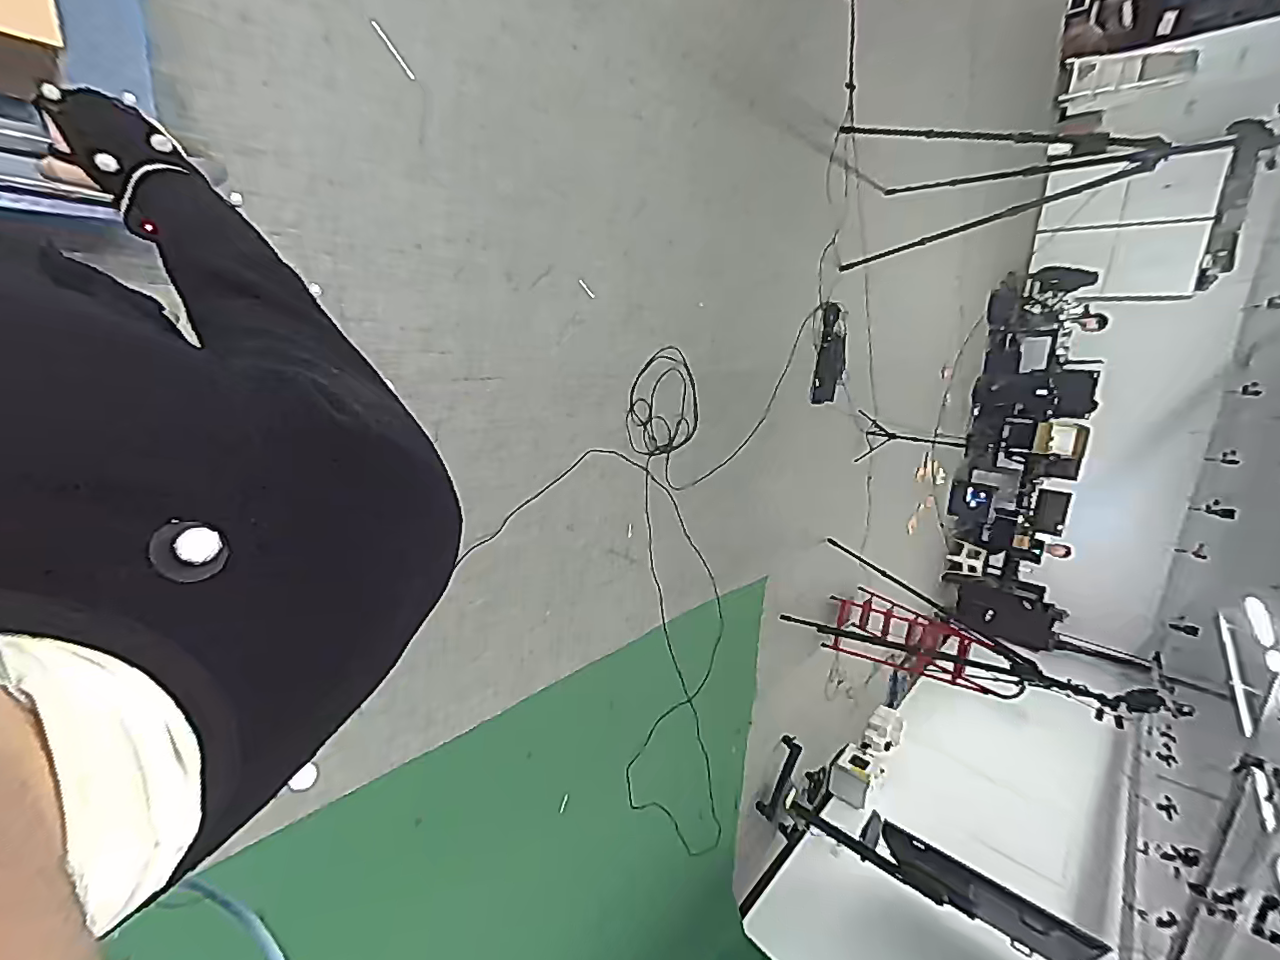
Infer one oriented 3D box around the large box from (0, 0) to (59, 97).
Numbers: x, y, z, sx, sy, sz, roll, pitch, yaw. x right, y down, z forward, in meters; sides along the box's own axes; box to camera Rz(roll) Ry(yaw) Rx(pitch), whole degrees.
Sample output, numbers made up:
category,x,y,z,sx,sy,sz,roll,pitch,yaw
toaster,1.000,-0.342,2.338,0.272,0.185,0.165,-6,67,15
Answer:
category,x,y,z,sx,sy,sz,roll,pitch,yaw
large box,-1.014,-0.790,0.684,0.320,0.320,0.408,-16,113,-44
